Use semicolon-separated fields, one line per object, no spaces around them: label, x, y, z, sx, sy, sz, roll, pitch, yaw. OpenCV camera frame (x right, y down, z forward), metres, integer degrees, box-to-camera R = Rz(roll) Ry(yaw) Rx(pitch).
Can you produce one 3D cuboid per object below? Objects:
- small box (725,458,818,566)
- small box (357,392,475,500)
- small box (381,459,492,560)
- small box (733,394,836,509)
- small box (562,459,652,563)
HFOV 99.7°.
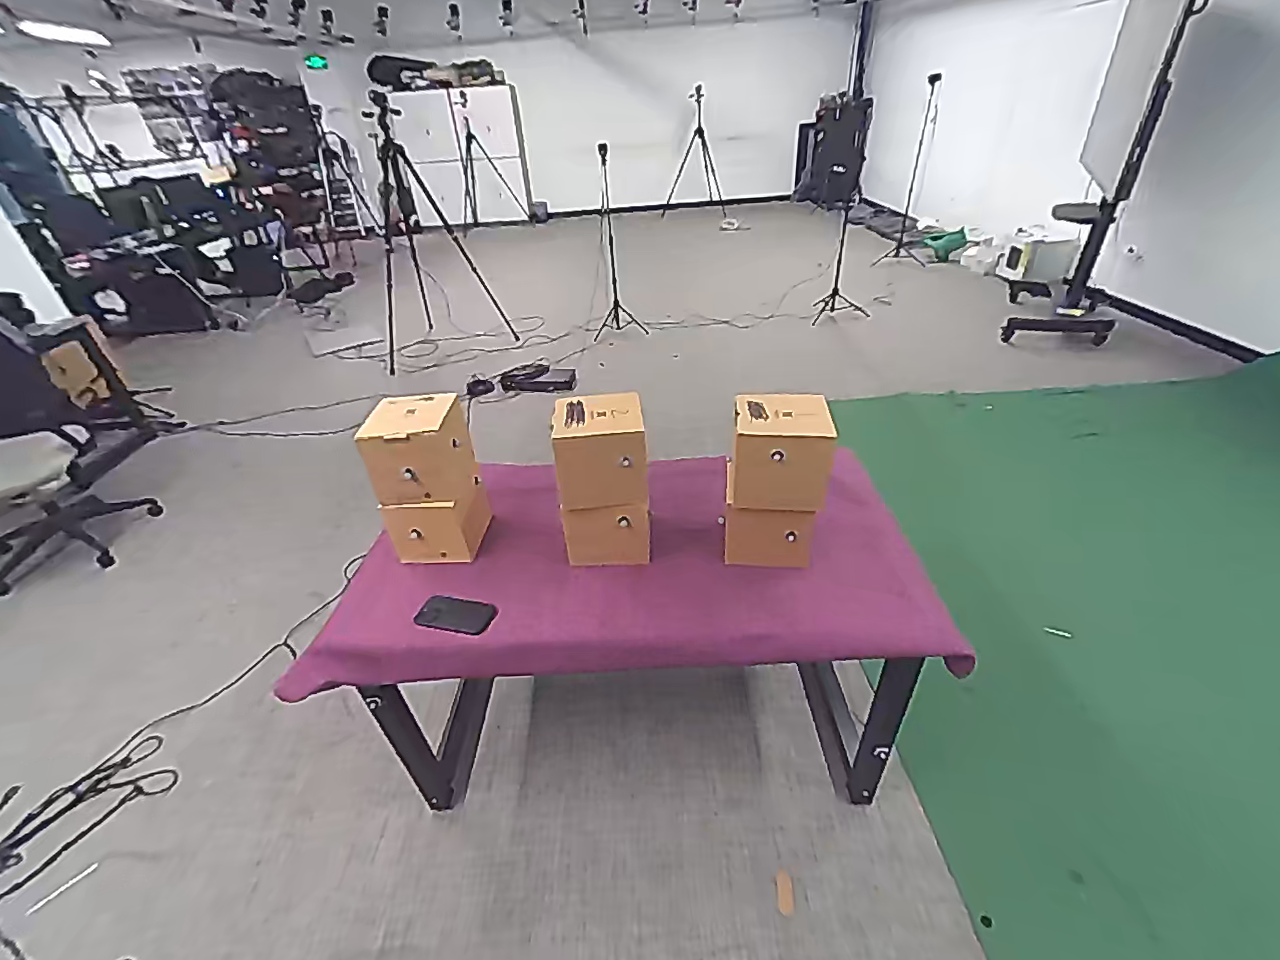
small box;0.275;0.069;1.164;0.179;0.176;0.168;1;35;9
small box;-0.463;-0.069;1.152;0.168;0.176;0.179;-4;35;-1
small box;-0.453;0.071;1.239;0.168;0.176;0.179;-1;35;4
small box;0.273;-0.057;1.058;0.179;0.176;0.168;2;35;8
small box;-0.064;0.070;1.197;0.179;0.176;0.168;-2;35;4
